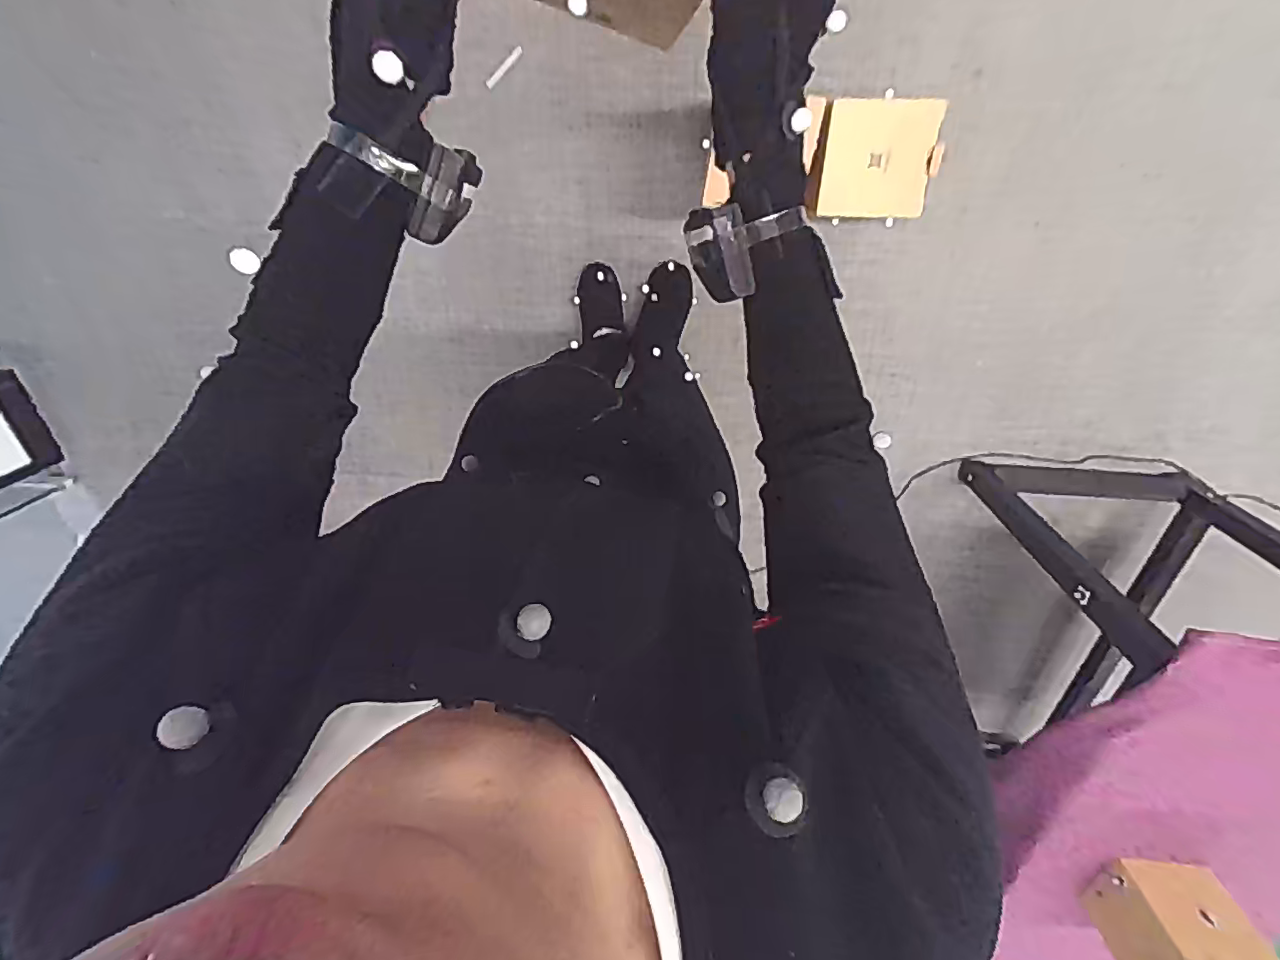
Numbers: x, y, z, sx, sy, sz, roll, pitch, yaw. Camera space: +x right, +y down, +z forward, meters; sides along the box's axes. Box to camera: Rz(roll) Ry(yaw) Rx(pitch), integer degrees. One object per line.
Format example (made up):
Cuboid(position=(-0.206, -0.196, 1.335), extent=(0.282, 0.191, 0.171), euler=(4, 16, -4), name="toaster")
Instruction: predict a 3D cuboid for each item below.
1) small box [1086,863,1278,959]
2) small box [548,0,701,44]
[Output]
Cuboid(position=(1.001, 0.854, 1.012), extent=(0.179, 0.176, 0.168), euler=(5, 118, 1), name="small box")
Cuboid(position=(-0.016, -0.431, 0.344), extent=(0.168, 0.176, 0.179), euler=(11, 112, -14), name="small box")
